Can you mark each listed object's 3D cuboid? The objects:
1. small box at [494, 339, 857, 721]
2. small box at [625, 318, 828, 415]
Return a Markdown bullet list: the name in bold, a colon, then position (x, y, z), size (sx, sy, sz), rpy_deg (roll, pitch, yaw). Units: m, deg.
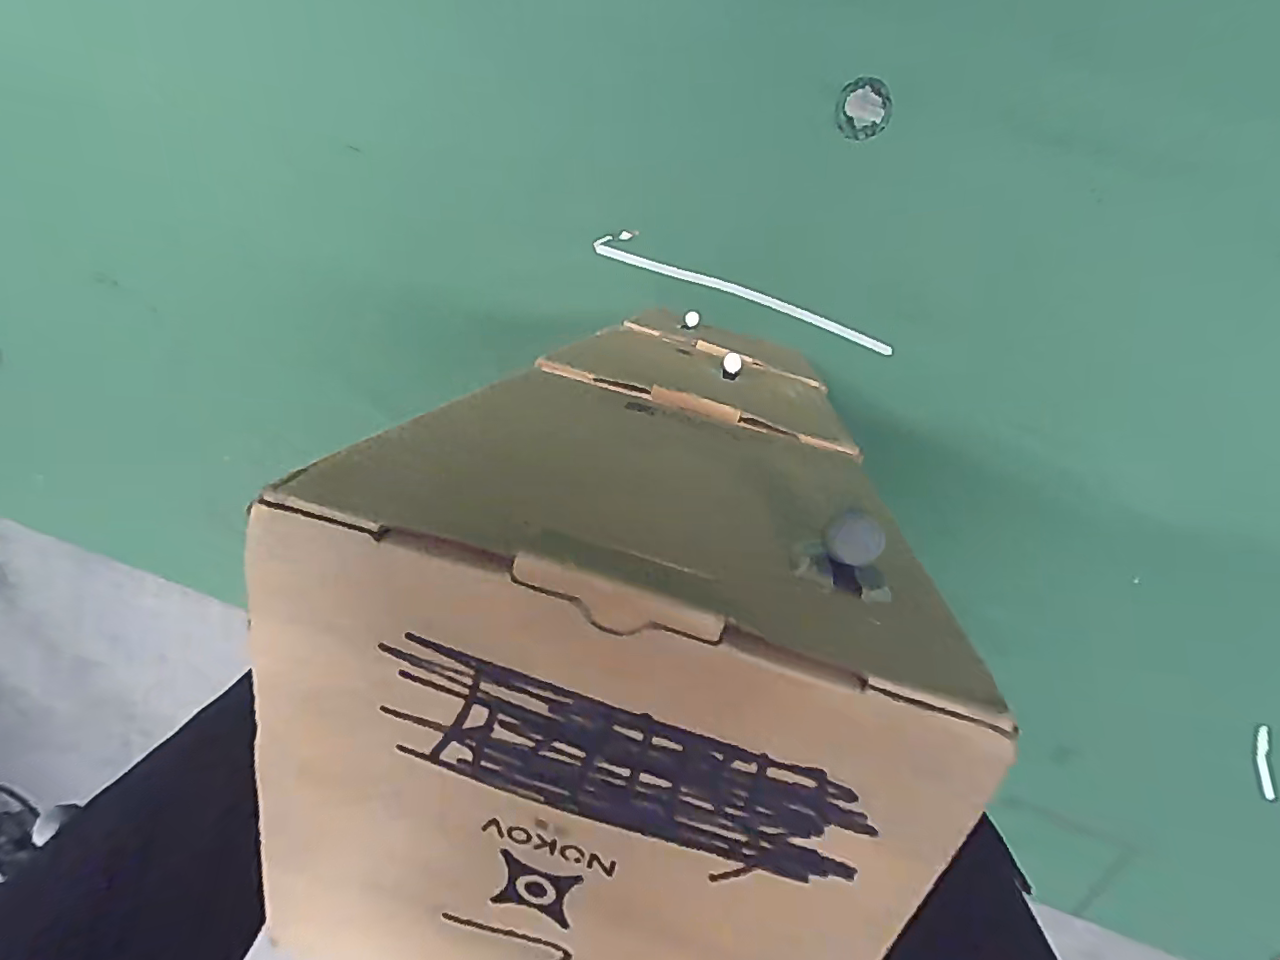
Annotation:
- **small box**: position (0.022, 0.016, 0.369), size (0.168, 0.176, 0.179), rpy_deg (17, 112, 4)
- **small box**: position (0.055, -0.045, 0.516), size (0.168, 0.176, 0.179), rpy_deg (19, 113, 4)
